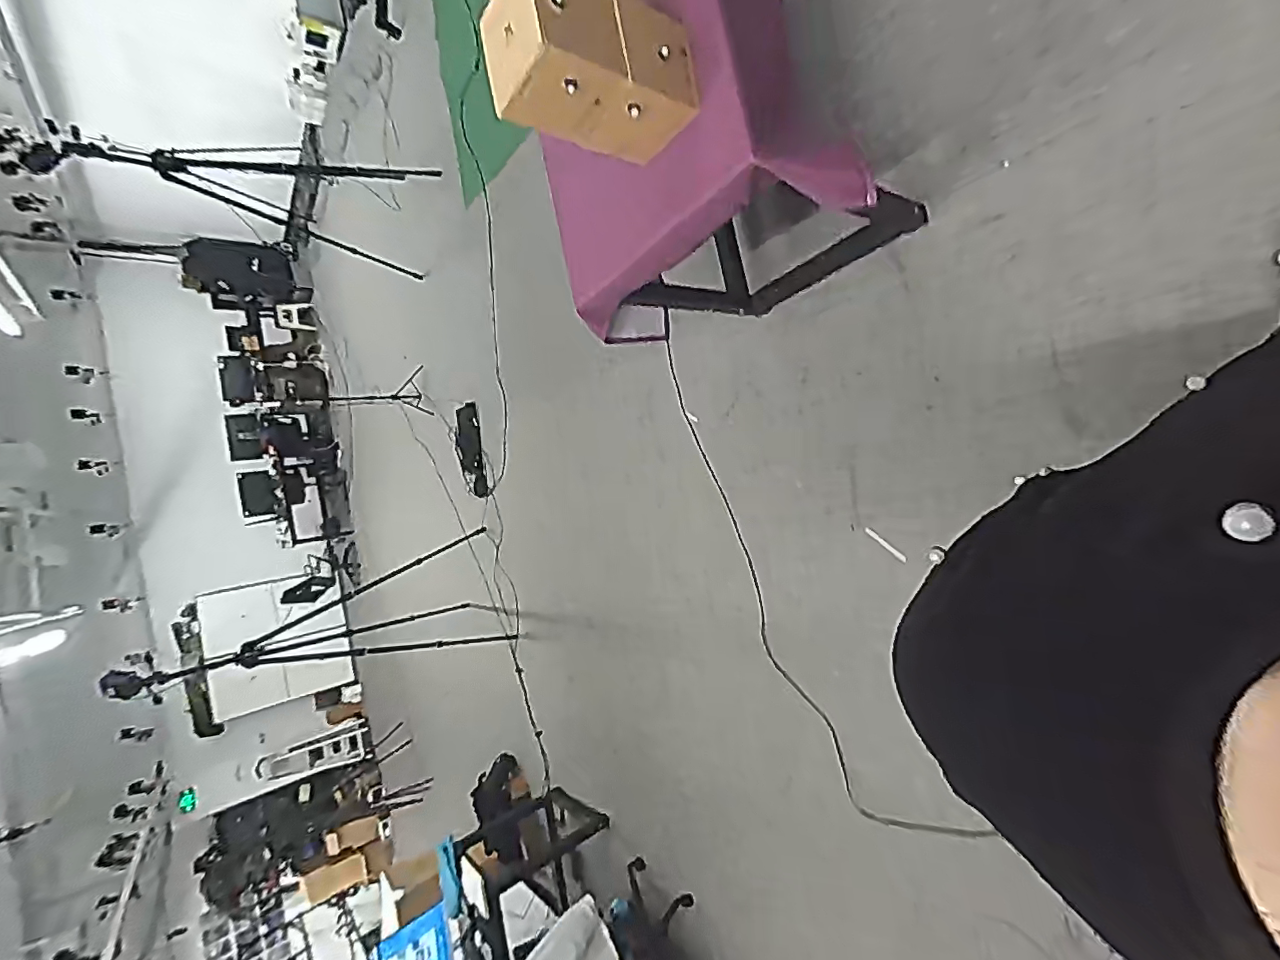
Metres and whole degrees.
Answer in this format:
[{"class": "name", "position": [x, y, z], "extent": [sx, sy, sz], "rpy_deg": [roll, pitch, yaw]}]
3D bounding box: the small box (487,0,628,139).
[{"class": "small box", "position": [-0.138, -0.716, 0.917], "extent": [0.168, 0.176, 0.179], "rpy_deg": [-14, 85, 51]}]

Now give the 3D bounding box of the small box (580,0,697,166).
[{"class": "small box", "position": [-0.009, -0.731, 1.017], "extent": [0.179, 0.176, 0.168], "rpy_deg": [-12, 87, 52]}]
